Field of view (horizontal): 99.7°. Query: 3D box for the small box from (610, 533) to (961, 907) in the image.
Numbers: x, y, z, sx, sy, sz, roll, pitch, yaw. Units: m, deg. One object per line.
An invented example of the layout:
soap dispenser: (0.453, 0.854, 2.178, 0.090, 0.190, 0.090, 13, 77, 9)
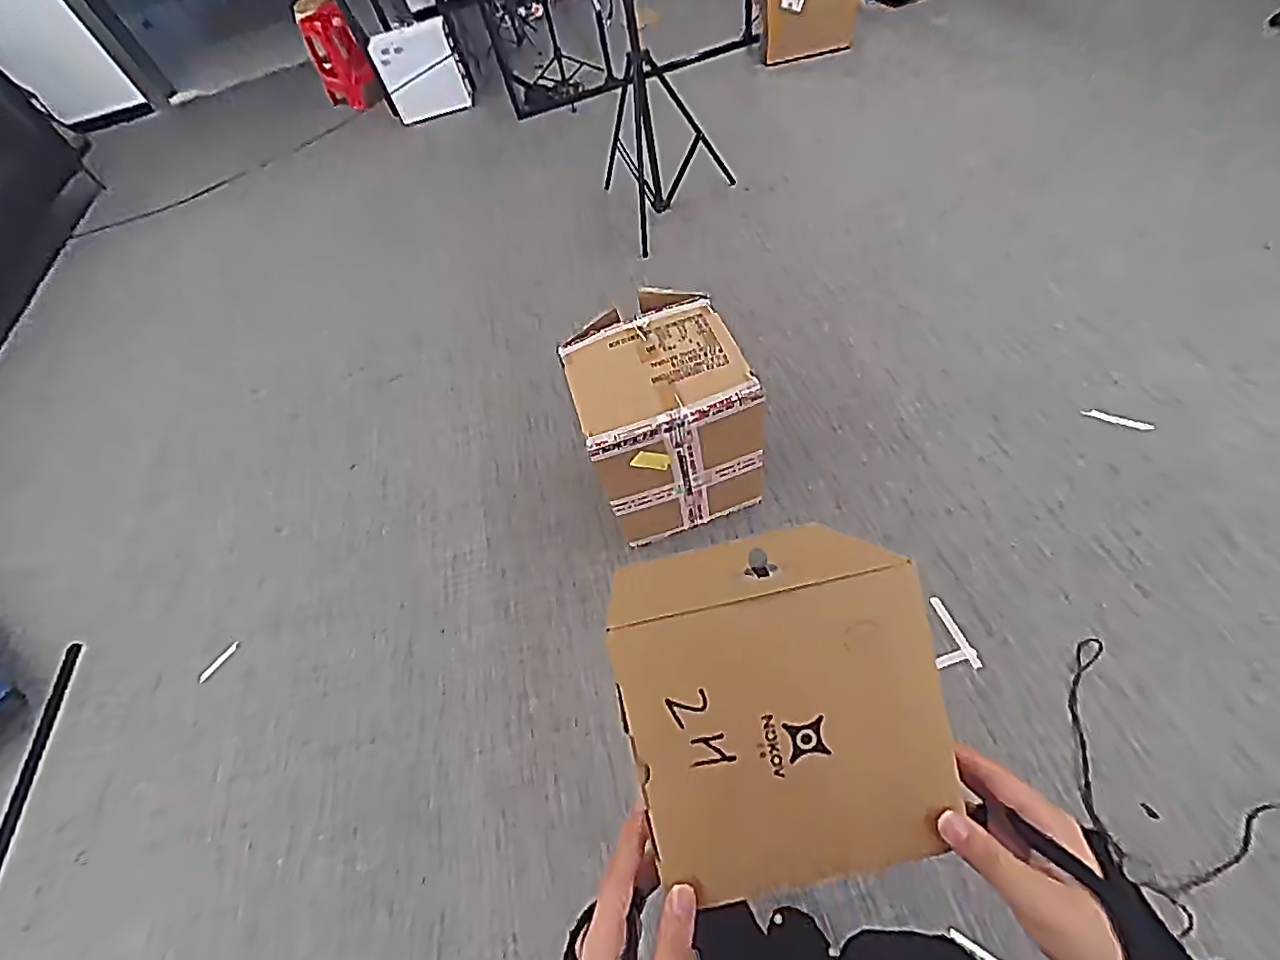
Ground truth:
small box: (0.081, 0.141, 0.383, 0.179, 0.176, 0.168, -13, 92, 0)
